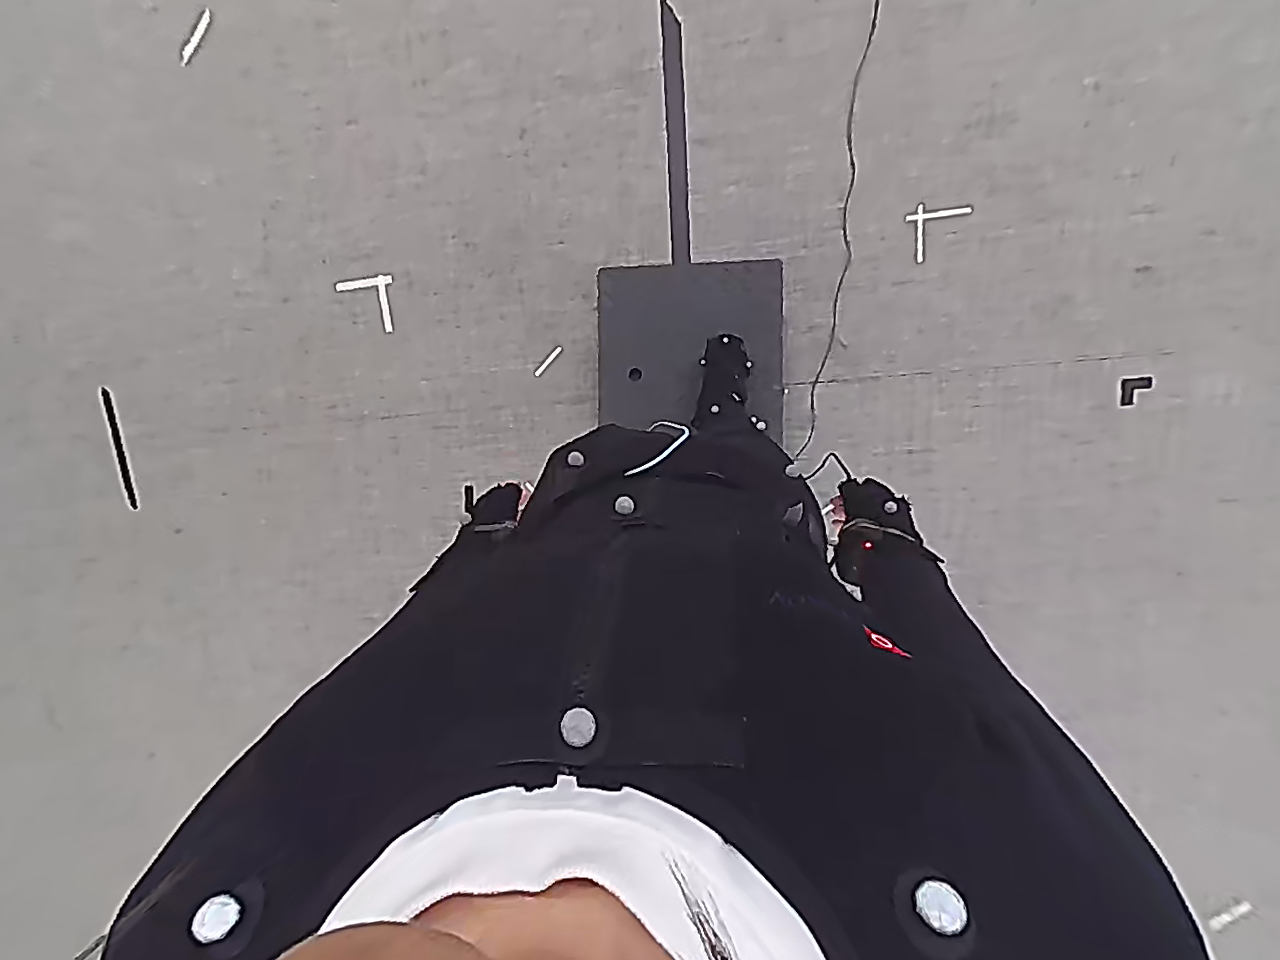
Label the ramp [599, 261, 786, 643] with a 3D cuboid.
[{"bbox_3d":[0.131,-0.072,1.437,0.509,0.206,0.991,-2,99,9],"label":"ramp"}]
